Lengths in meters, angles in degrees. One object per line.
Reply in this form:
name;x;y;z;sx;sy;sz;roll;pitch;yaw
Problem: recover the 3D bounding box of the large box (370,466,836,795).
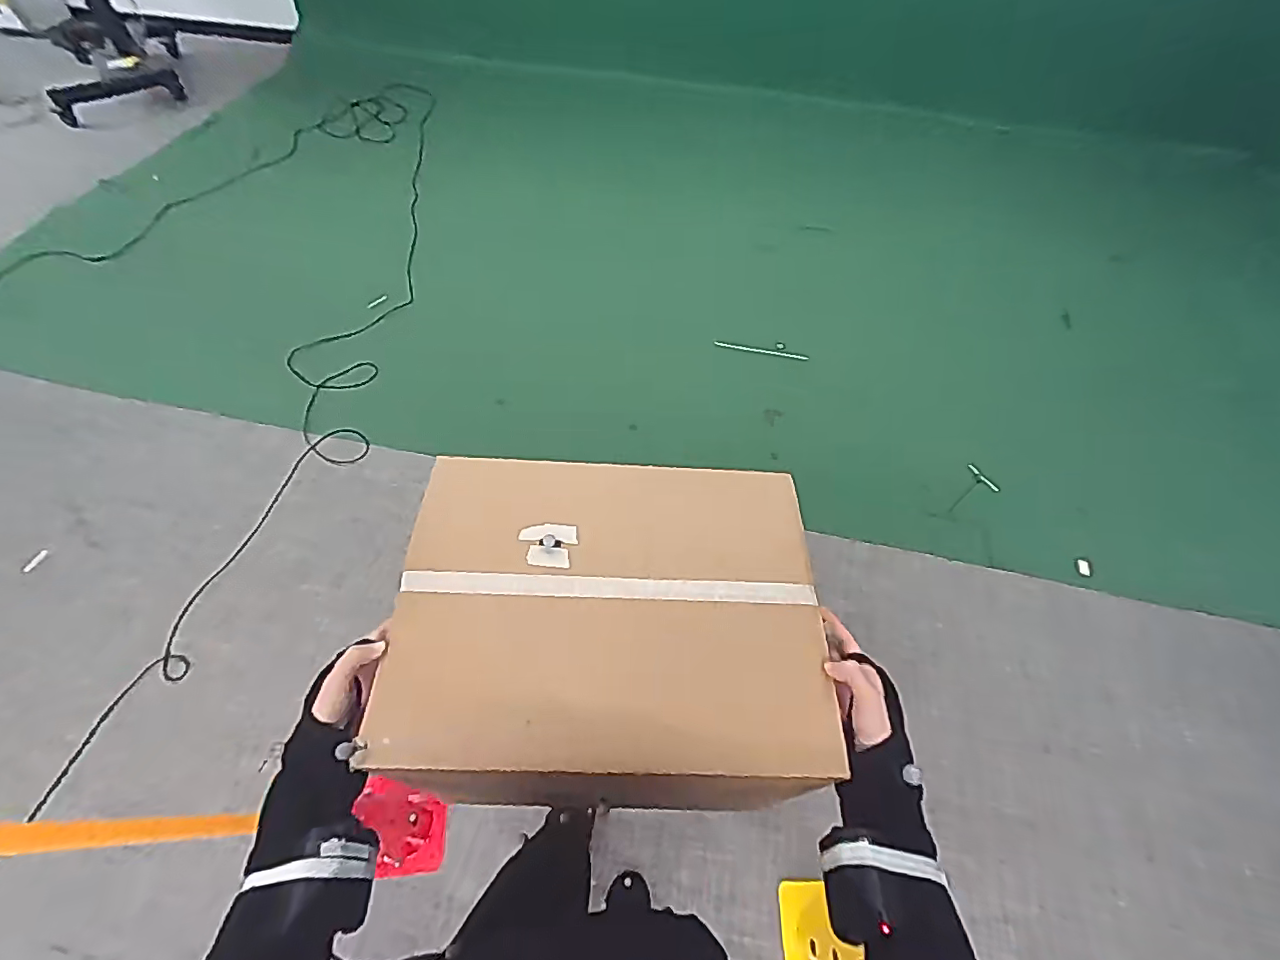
large box;-0.033;0.198;0.662;0.408;0.320;0.320;2;54;-2
